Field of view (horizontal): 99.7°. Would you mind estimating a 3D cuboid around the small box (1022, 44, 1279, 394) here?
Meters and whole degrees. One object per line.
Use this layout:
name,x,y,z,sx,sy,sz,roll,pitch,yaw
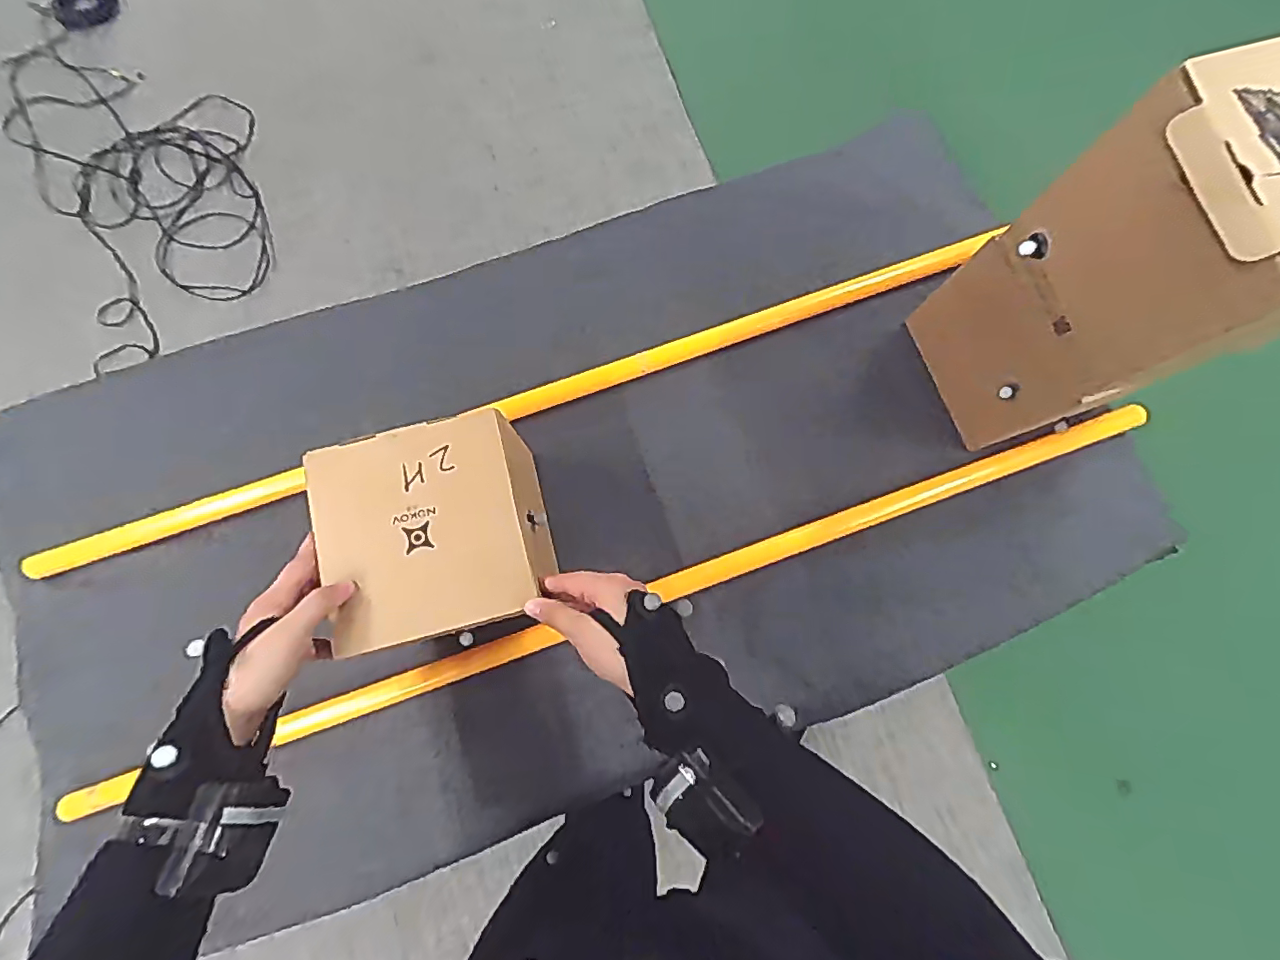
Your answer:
small box,0.431,-0.180,0.401,0.179,0.176,0.168,-15,80,-4
